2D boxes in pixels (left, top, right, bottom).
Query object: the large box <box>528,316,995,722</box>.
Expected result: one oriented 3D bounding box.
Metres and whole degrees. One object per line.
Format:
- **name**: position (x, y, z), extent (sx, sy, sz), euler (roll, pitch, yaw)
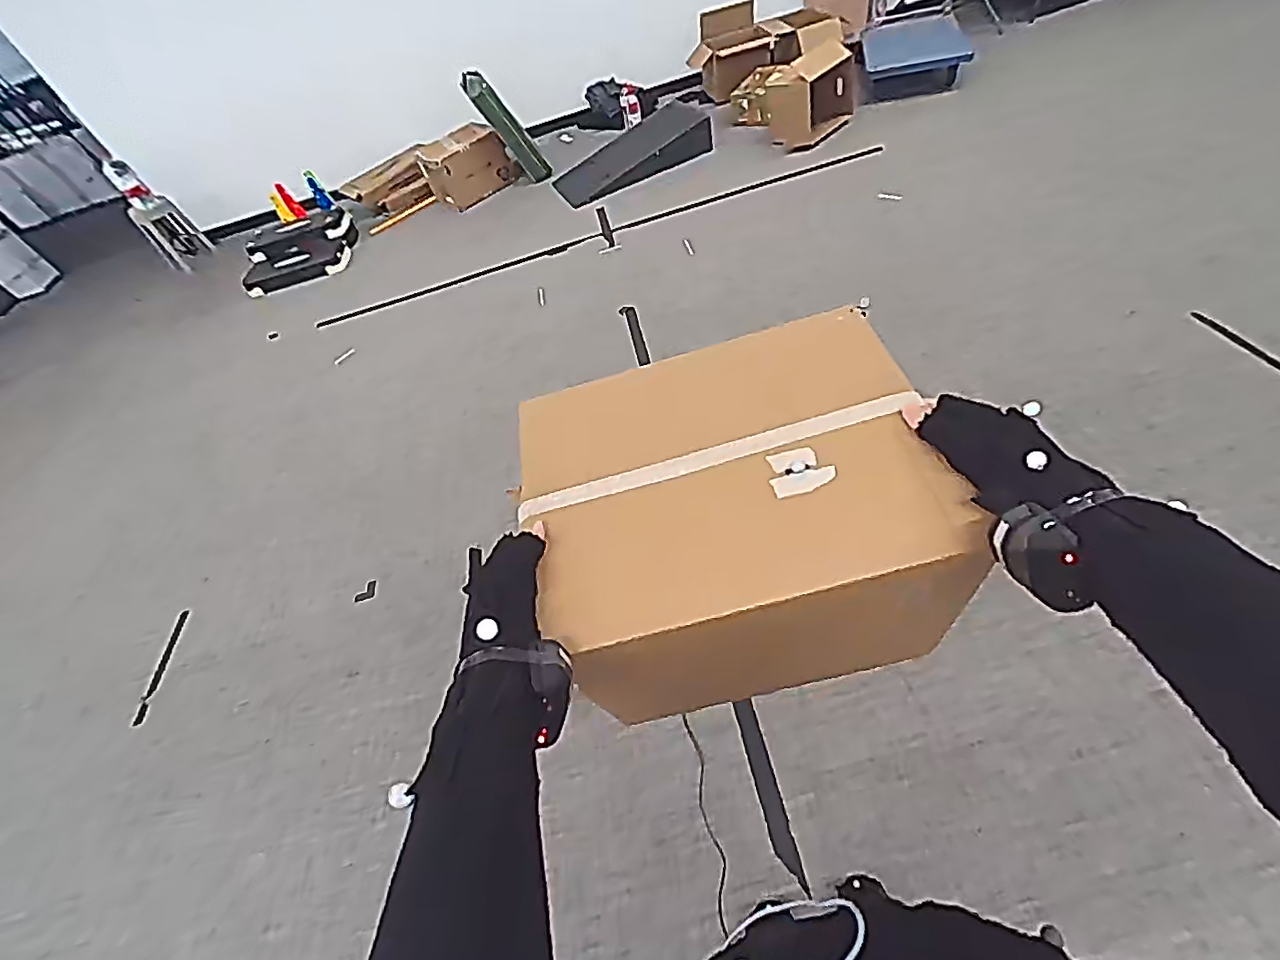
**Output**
- **large box**: position (0.112, 0.065, 0.669), extent (0.408, 0.320, 0.320), euler (-16, 54, 4)
